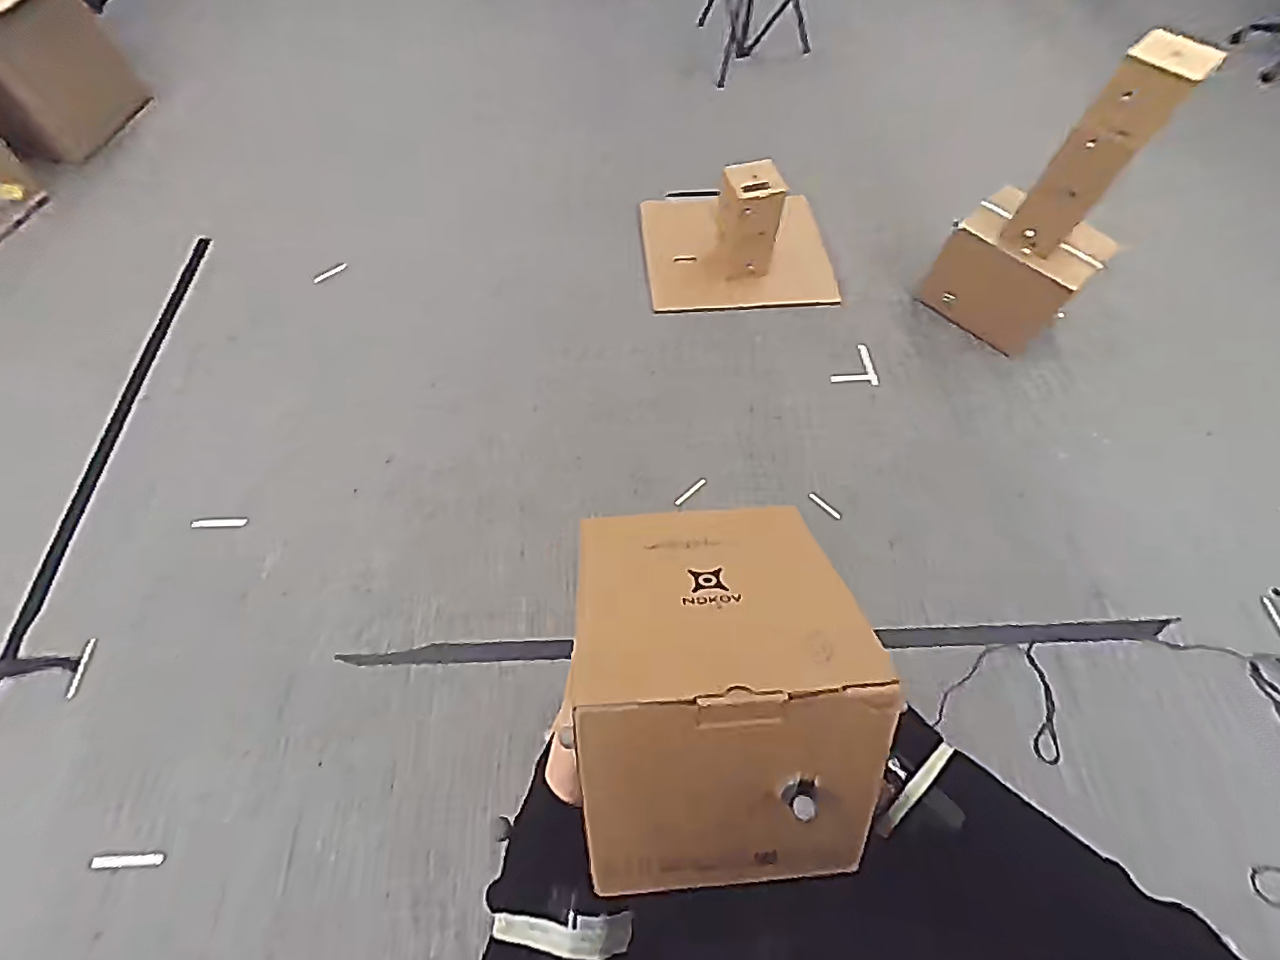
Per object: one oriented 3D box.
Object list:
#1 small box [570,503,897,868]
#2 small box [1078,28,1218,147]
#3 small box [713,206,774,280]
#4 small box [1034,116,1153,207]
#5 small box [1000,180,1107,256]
[{"bbox_3d":[0.046,0.134,0.372,0.168,0.176,0.179,-3,27,-3],"label":"small box"},{"bbox_3d":[1.246,-0.968,1.342,0.179,0.176,0.168,-41,70,-20],"label":"small box"},{"bbox_3d":[0.371,-0.868,1.986,0.168,0.176,0.179,-12,64,-4],"label":"small box"},{"bbox_3d":[1.243,-0.896,1.489,0.179,0.176,0.168,-40,69,-20],"label":"small box"},{"bbox_3d":[1.239,-0.819,1.633,0.179,0.176,0.168,-41,70,-19],"label":"small box"}]
